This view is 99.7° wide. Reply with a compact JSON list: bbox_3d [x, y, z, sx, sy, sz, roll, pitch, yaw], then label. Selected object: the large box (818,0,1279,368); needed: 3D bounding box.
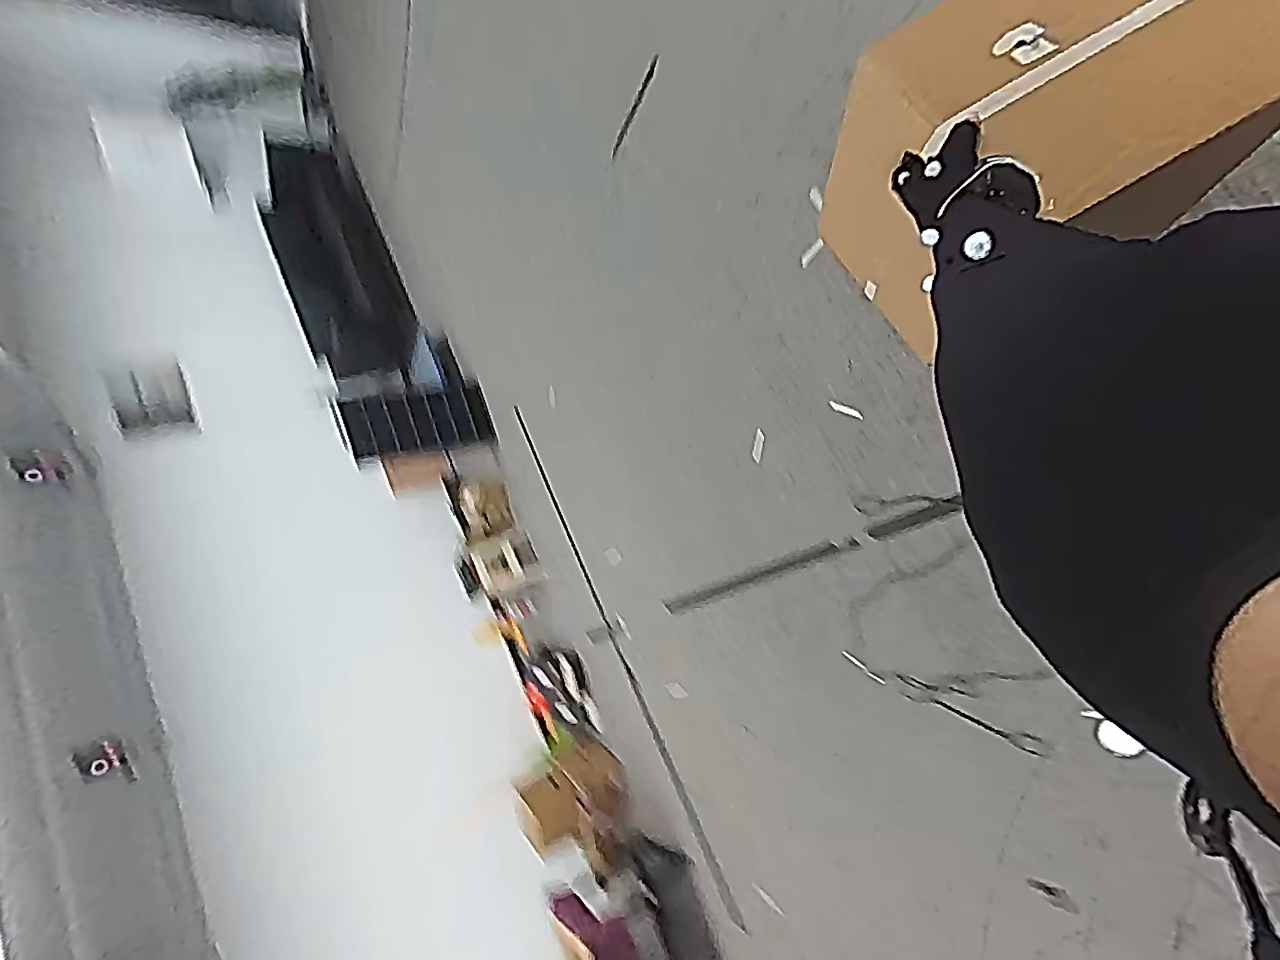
[{"bbox_3d":[0.526,-0.434,0.765,0.320,0.408,0.320,60,-178,18],"label":"large box"}]
